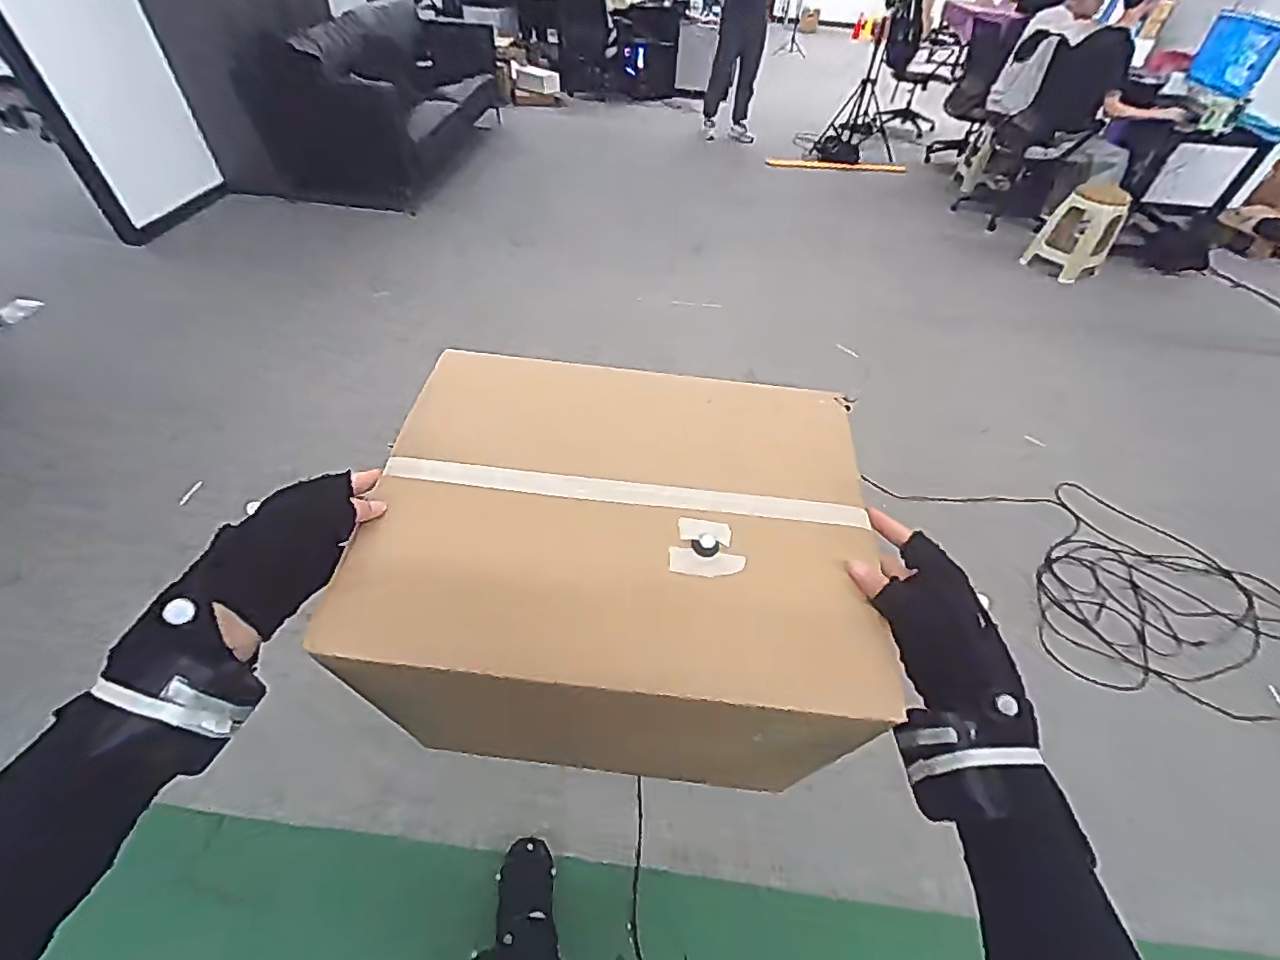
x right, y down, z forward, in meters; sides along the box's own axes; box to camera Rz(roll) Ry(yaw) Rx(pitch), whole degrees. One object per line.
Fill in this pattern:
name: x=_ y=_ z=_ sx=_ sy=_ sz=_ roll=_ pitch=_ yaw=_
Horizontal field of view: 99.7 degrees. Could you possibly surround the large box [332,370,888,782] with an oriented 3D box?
large box: x=-0.020 y=0.113 z=0.585 sx=0.408 sy=0.320 sz=0.320 roll=6 pitch=53 yaw=1
